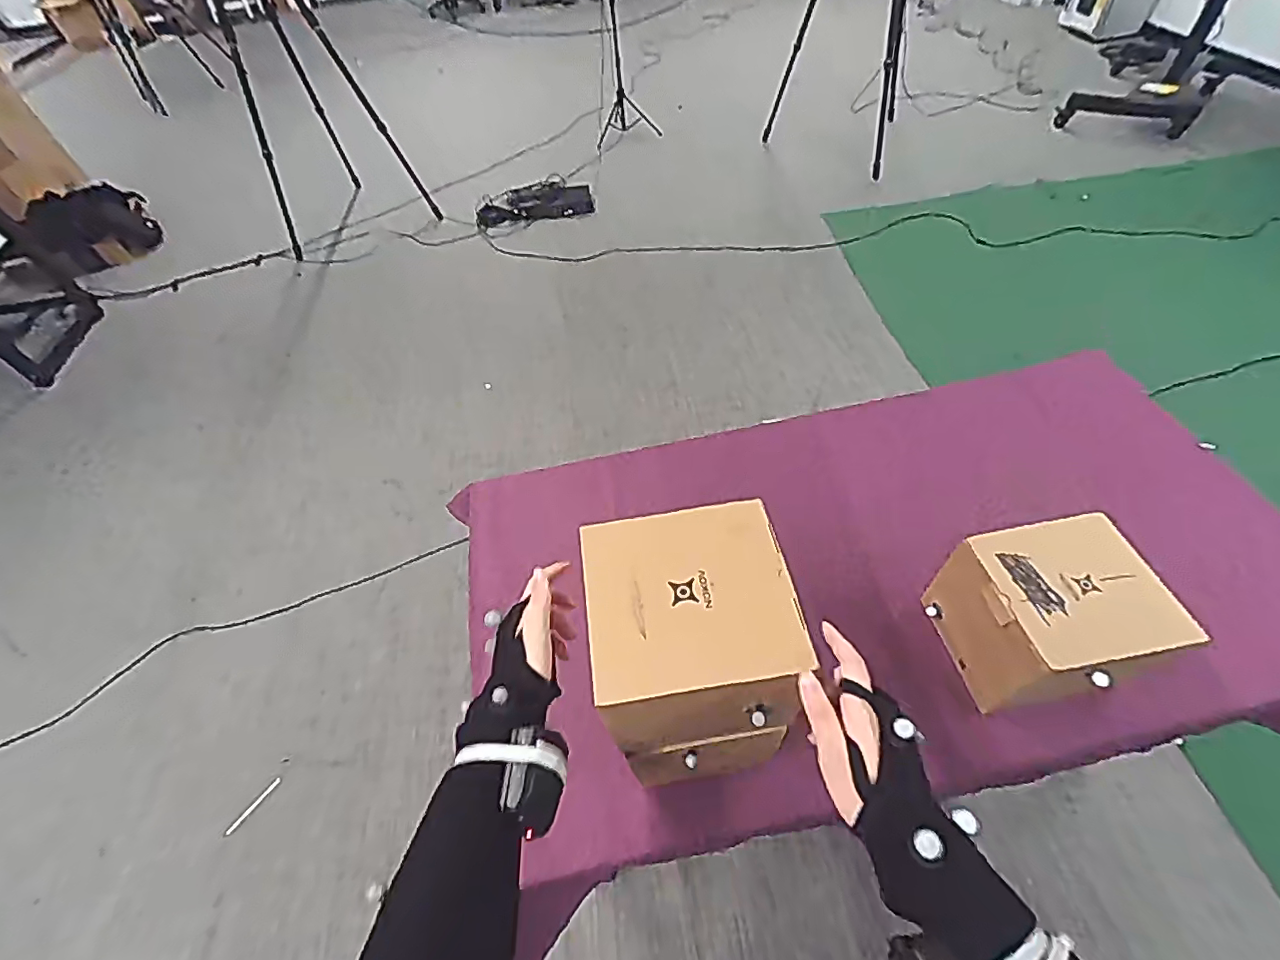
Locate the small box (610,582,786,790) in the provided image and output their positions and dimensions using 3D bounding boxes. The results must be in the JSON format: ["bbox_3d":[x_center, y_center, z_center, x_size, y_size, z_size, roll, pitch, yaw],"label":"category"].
[{"bbox_3d":[0.061,0.249,0.650,0.168,0.176,0.179,-10,51,-1],"label":"small box"}]

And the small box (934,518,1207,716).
[{"bbox_3d":[0.490,0.172,0.660,0.179,0.176,0.168,-10,52,-2],"label":"small box"}]
